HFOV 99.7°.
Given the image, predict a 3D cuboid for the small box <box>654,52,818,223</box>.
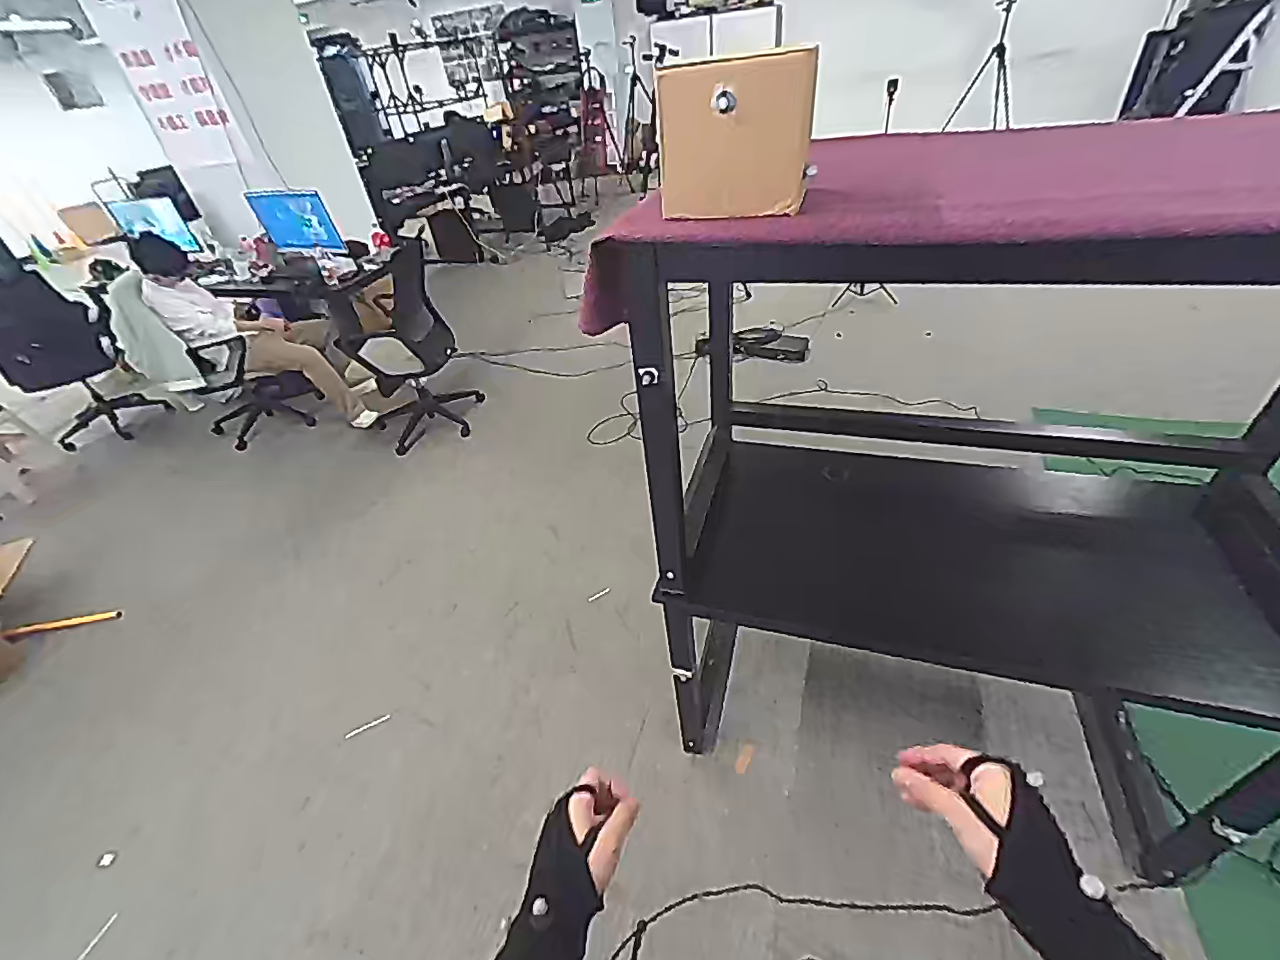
[{"bbox_3d":[0.130,-0.445,0.710,0.179,0.176,0.168,7,40,17],"label":"small box"}]
